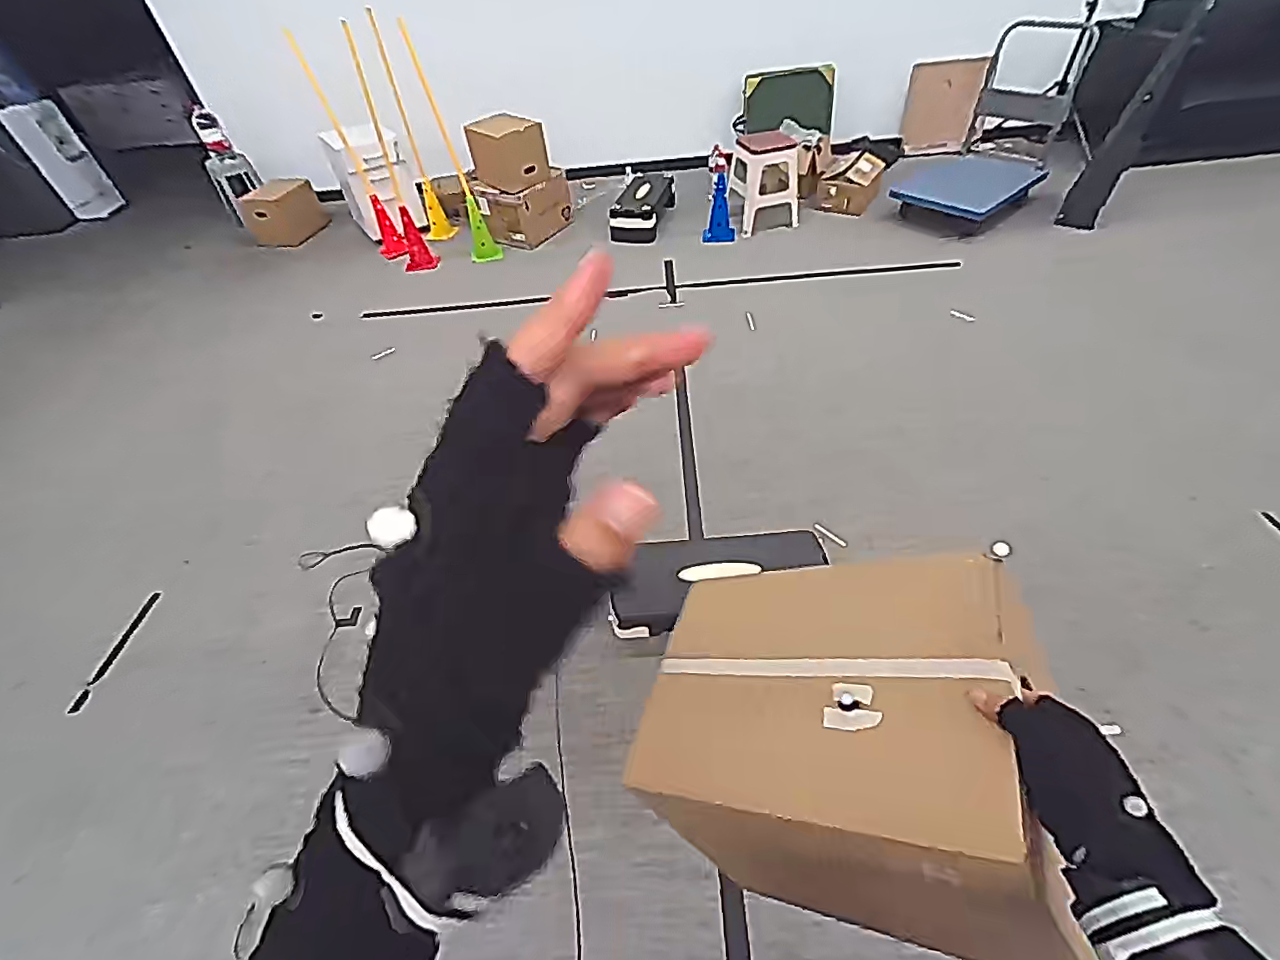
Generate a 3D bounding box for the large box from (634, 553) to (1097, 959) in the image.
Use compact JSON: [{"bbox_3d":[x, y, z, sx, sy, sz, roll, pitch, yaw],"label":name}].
[{"bbox_3d":[0.276,0.331,0.688,0.408,0.320,0.320,-16,32,40],"label":"large box"}]
